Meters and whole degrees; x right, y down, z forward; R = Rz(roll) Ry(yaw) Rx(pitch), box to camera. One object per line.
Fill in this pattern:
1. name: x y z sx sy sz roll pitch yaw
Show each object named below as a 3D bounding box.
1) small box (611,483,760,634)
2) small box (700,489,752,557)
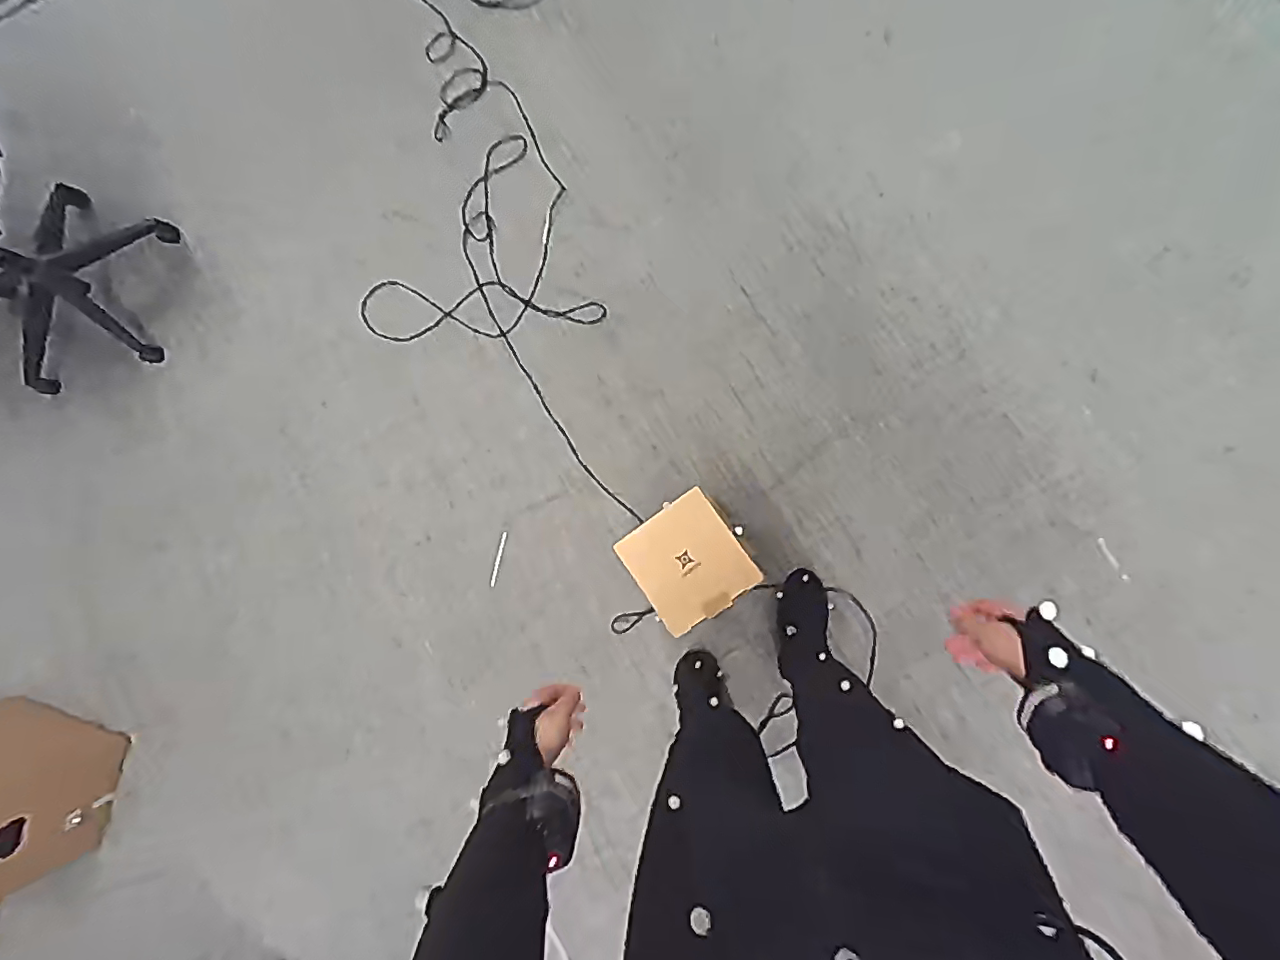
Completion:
1. small box: 0.077 0.126 0.901 0.168 0.176 0.179 -37 81 5
2. small box: 0.135 0.139 1.222 0.168 0.176 0.179 -39 80 4
